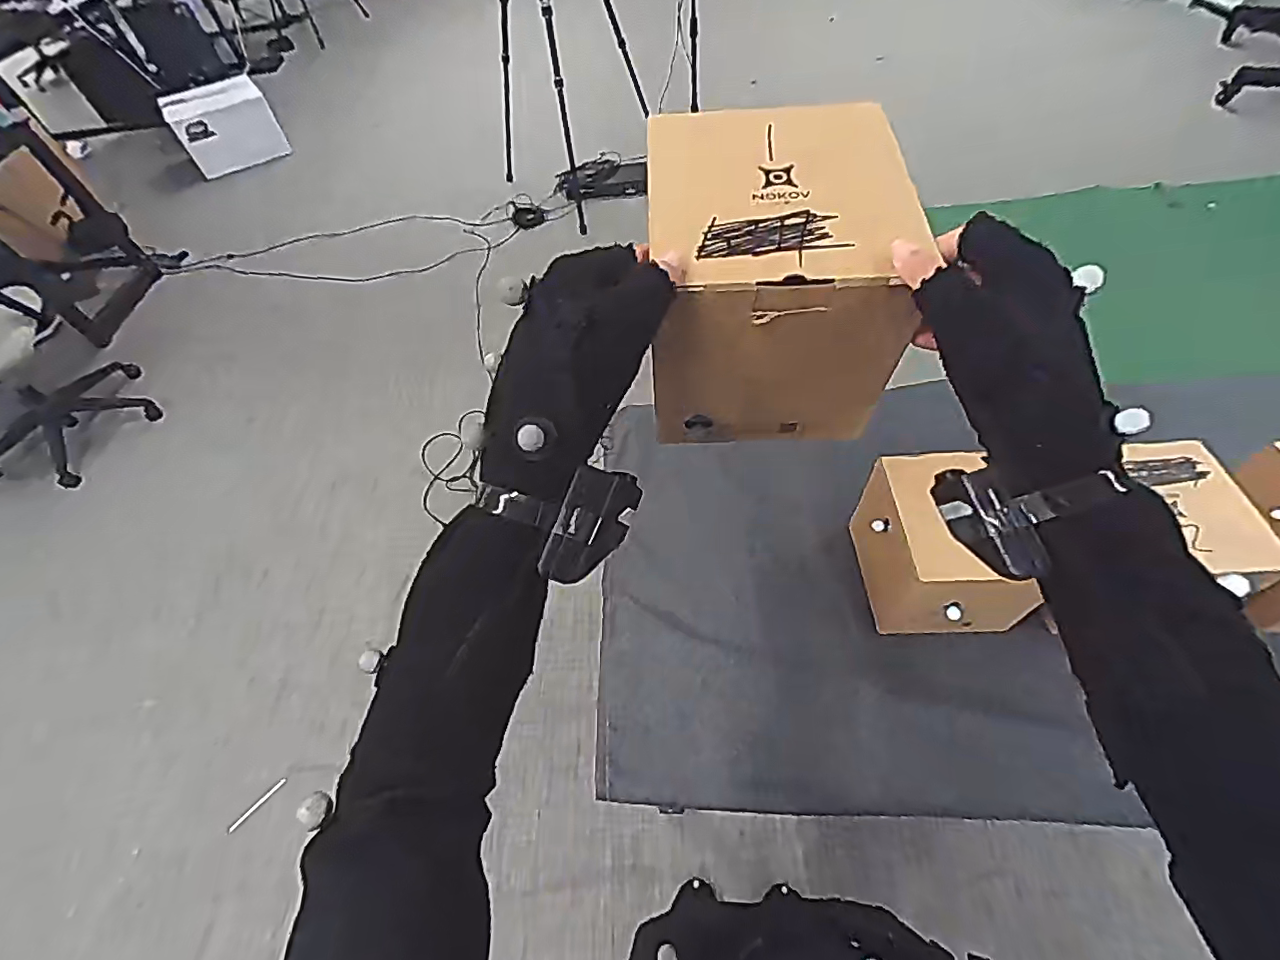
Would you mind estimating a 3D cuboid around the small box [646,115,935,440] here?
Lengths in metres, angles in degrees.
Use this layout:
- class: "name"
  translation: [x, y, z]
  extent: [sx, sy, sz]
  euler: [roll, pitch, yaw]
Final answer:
- class: "small box"
  translation: [0.091, -0.142, 0.417]
  extent: [0.168, 0.176, 0.179]
  euler: [-2, 60, 3]

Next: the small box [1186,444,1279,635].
- class: "small box"
  translation: [0.838, 0.071, 0.649]
  extent: [0.168, 0.176, 0.179]
  euler: [-4, 53, 5]
